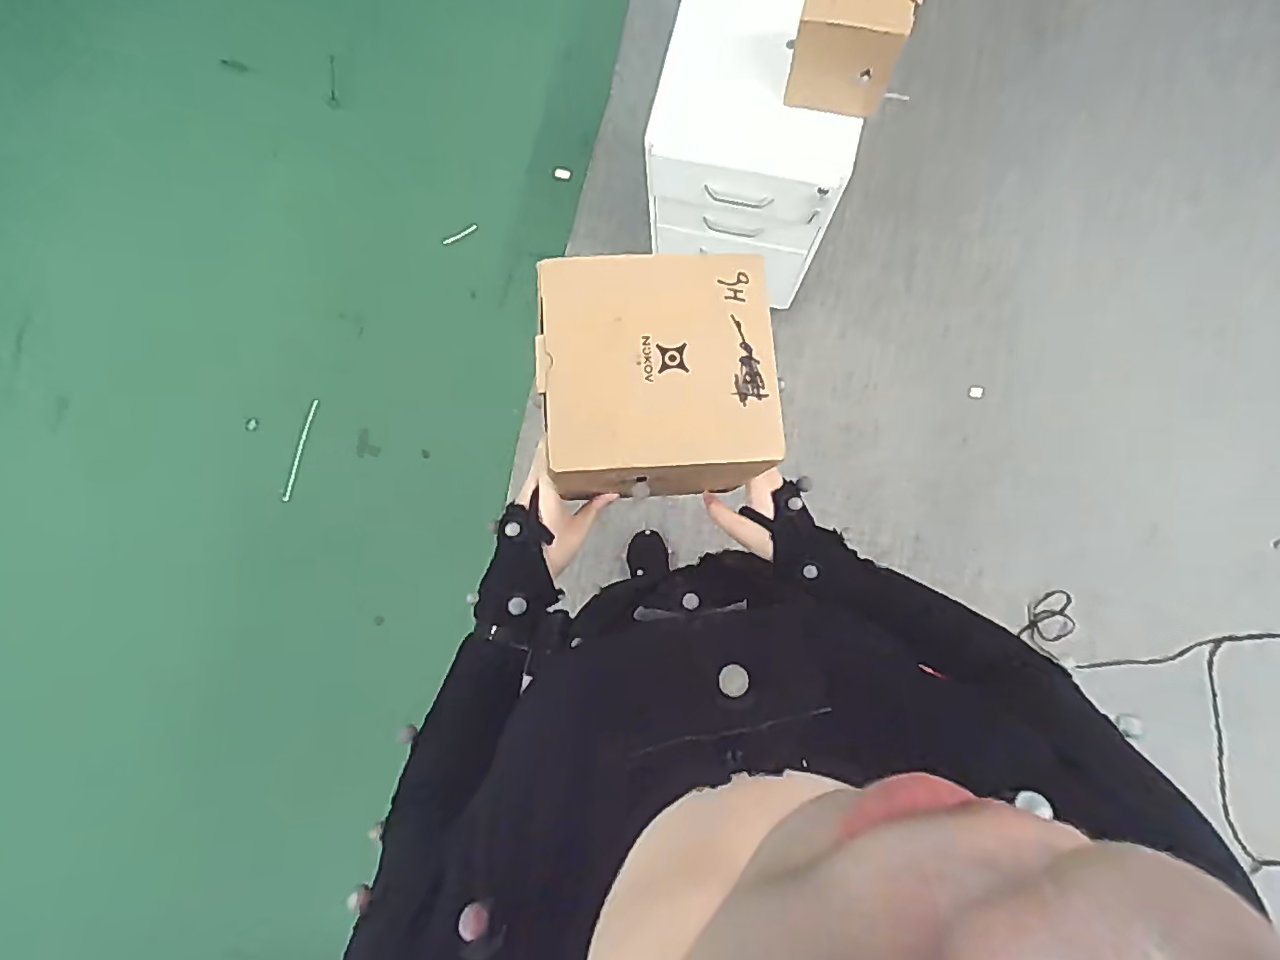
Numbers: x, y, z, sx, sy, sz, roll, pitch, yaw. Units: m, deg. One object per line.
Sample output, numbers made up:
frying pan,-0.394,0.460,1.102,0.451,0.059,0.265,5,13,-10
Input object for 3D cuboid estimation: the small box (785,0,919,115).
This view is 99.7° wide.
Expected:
small box,0.366,-0.777,0.938,0.179,0.176,0.168,13,82,7

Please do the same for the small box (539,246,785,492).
small box,0.011,-0.083,0.477,0.179,0.176,0.168,-3,82,-4
